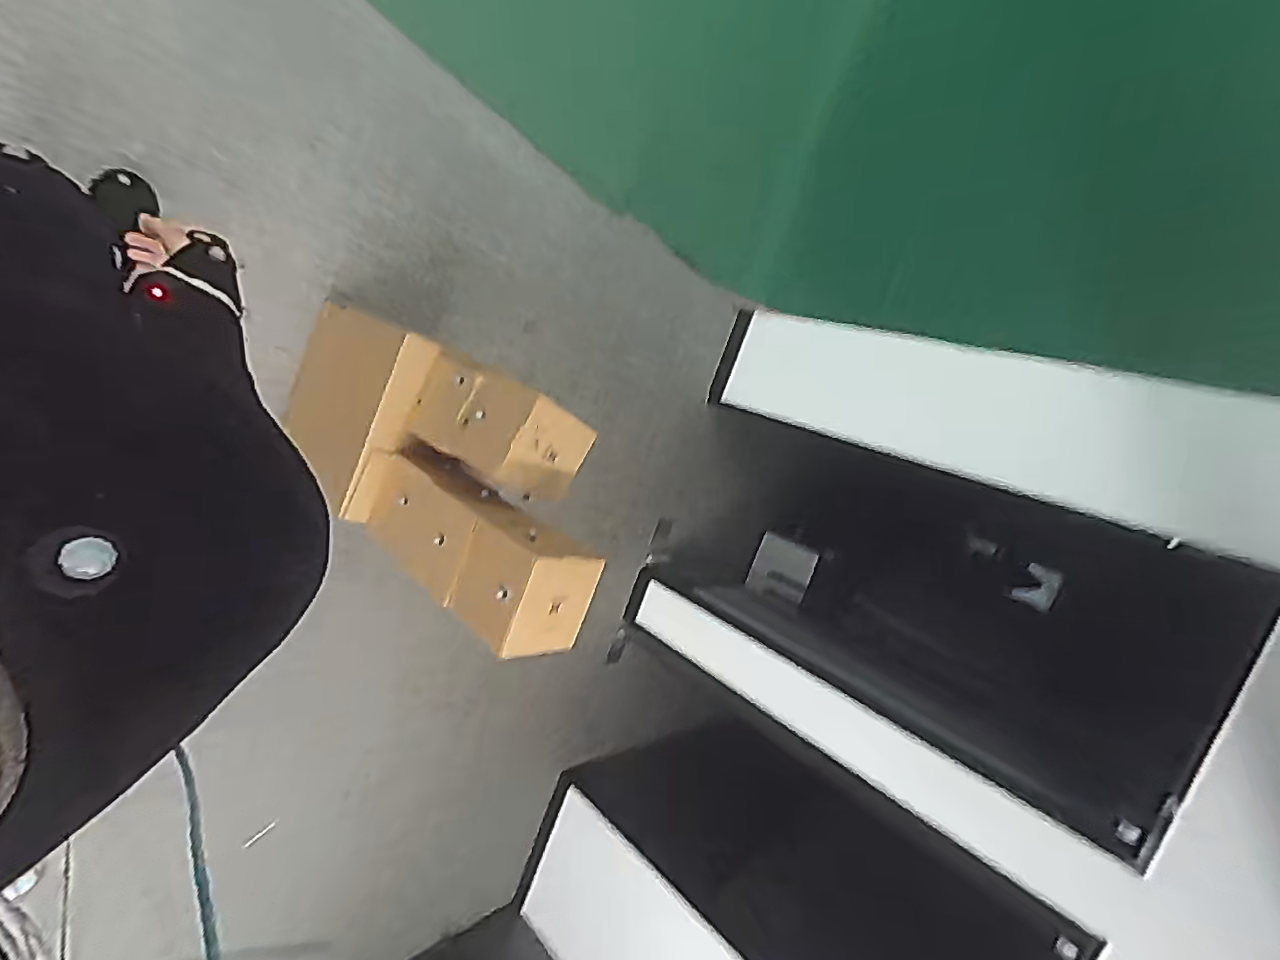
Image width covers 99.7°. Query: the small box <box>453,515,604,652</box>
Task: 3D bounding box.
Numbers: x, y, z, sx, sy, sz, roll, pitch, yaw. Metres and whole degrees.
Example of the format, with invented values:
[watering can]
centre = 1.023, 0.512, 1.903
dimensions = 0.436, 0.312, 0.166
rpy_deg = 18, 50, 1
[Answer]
[small box]
centre = -0.199, 0.174, 0.950
dimensions = 0.168, 0.176, 0.179
rpy_deg = 15, 99, -52
